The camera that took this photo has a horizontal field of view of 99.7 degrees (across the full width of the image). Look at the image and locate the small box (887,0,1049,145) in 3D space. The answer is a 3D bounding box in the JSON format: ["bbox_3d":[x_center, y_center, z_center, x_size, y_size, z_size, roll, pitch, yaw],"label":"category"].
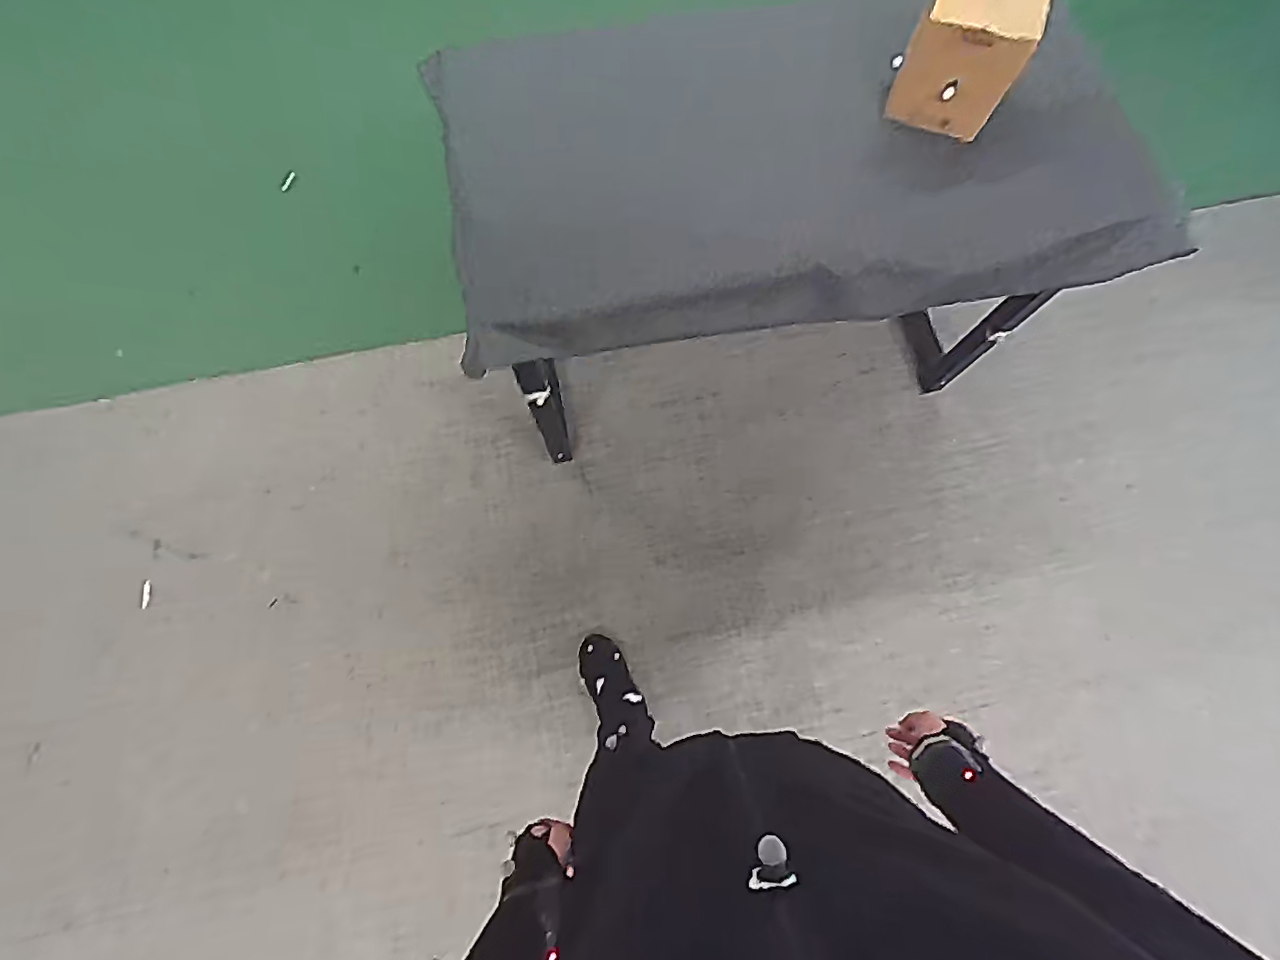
[{"bbox_3d":[0.549,-0.719,0.923,0.168,0.176,0.179,20,75,5],"label":"small box"}]
